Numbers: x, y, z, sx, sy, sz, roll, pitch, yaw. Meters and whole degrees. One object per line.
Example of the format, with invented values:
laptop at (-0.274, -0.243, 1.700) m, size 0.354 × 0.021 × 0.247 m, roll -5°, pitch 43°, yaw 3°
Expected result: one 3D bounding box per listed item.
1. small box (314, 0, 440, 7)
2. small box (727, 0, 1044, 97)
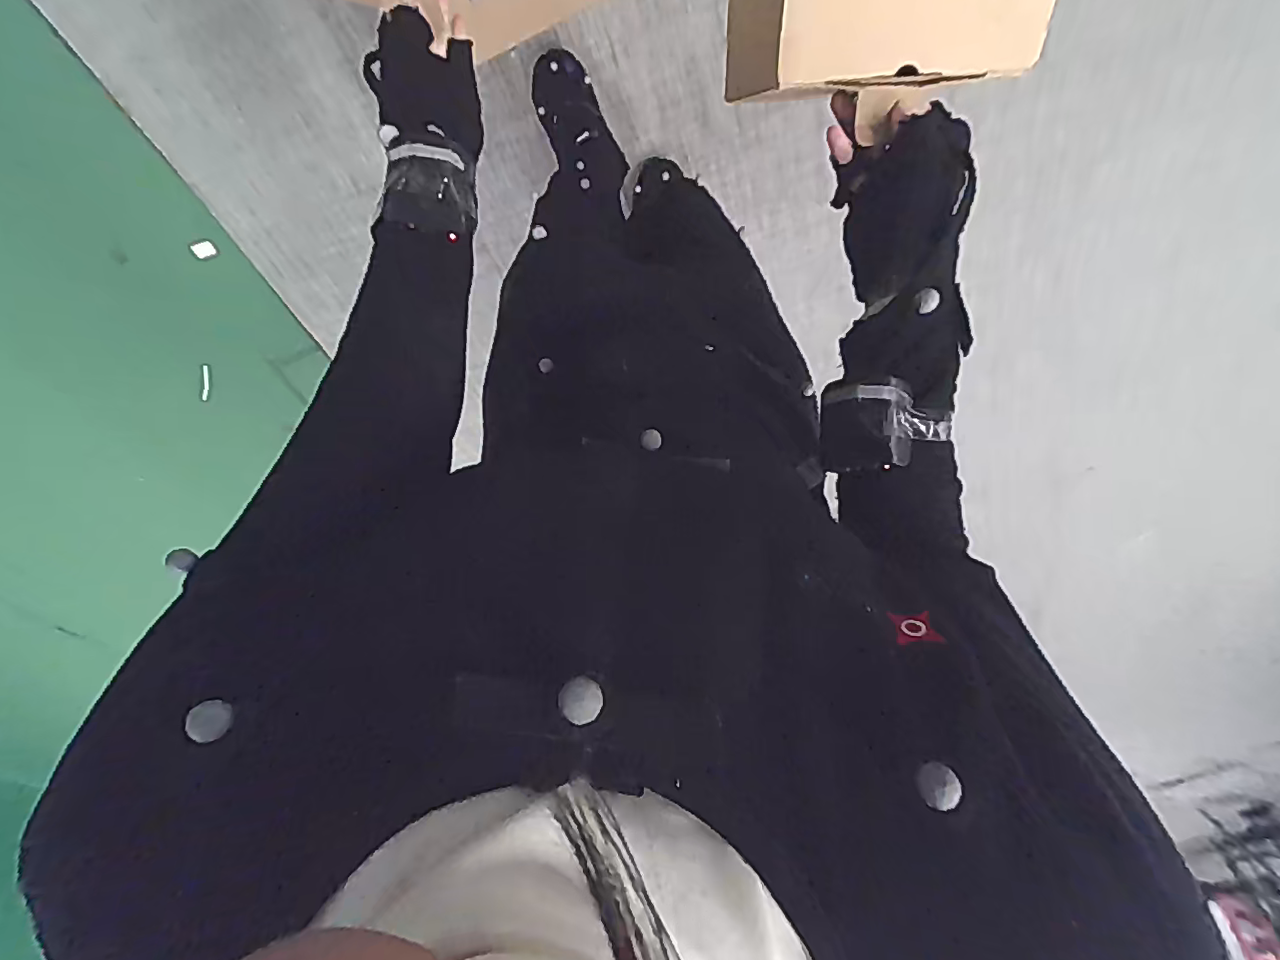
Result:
small box at (-0.185, -0.490, 0.415) m, size 0.168 × 0.176 × 0.179 m, roll -6°, pitch 127°, yaw 6°
small box at (0.158, -0.370, 0.368) m, size 0.168 × 0.176 × 0.179 m, roll -4°, pitch 123°, yaw -2°
